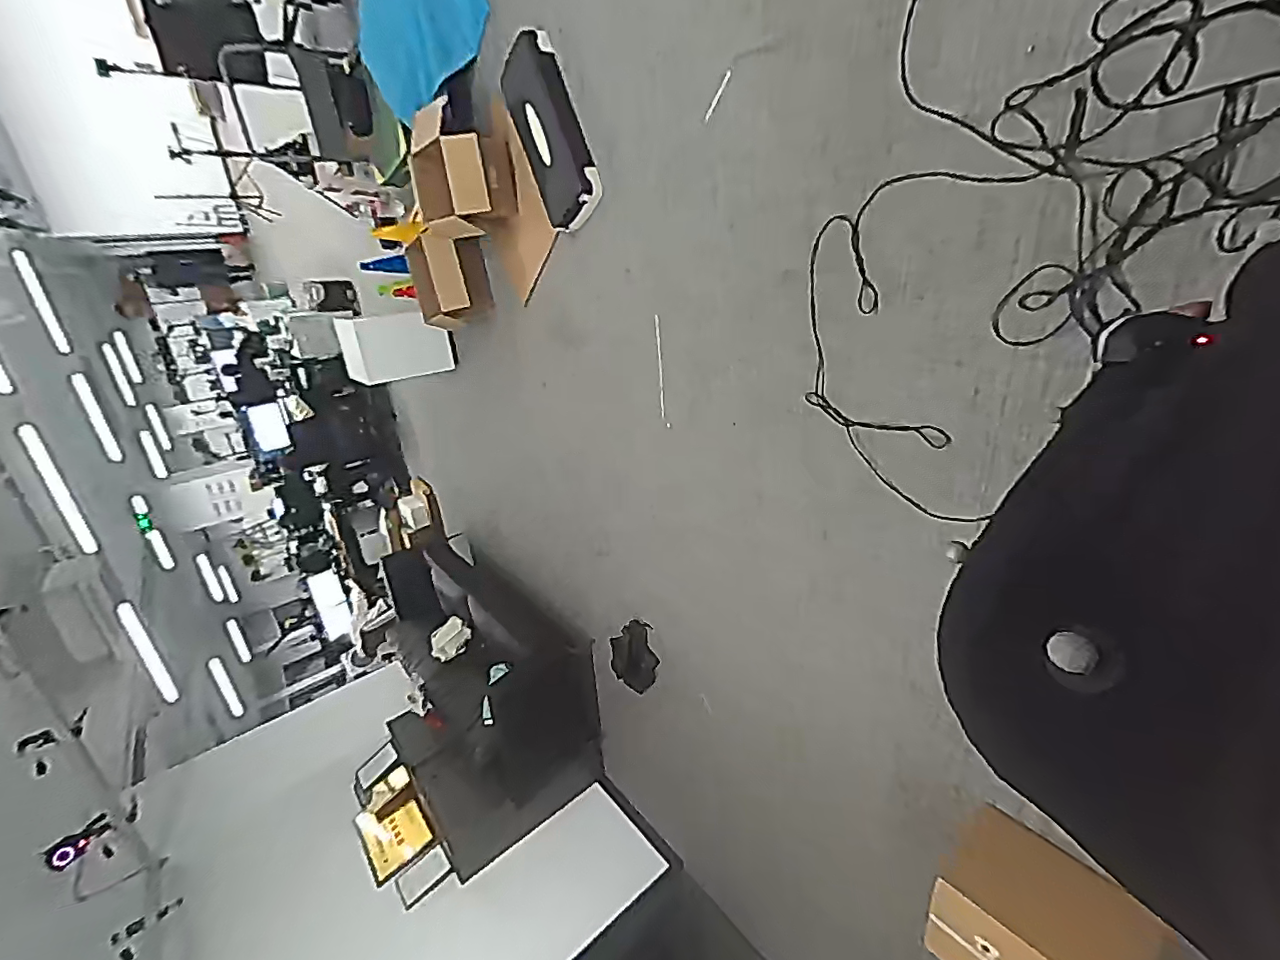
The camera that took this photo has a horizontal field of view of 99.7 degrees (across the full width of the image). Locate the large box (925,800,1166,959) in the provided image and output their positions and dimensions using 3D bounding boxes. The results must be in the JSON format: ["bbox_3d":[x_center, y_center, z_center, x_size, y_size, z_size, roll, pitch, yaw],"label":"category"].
[{"bbox_3d":[1.037,1.163,1.413,0.408,0.320,0.320,24,125,48],"label":"large box"}]
